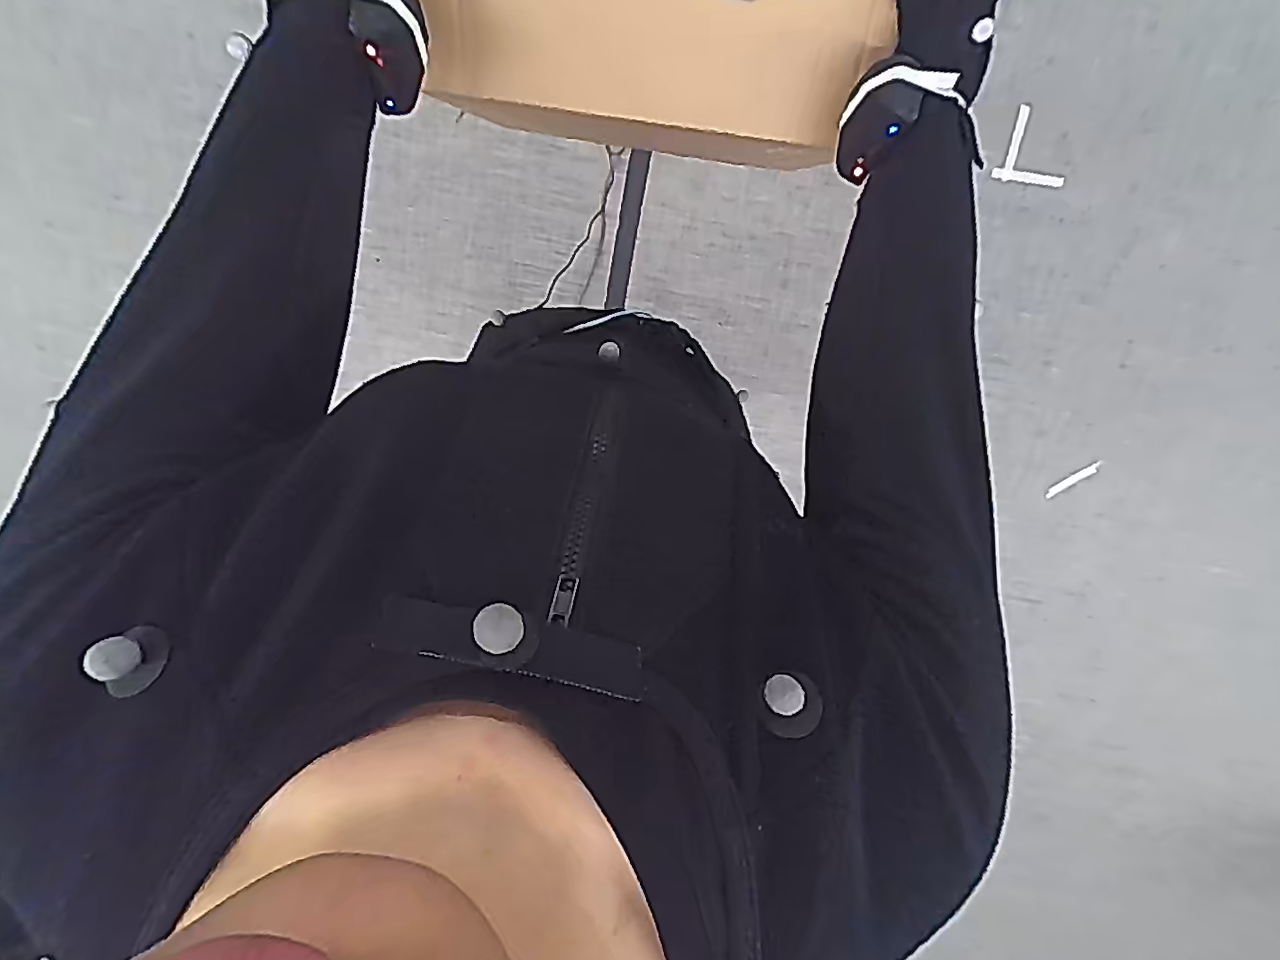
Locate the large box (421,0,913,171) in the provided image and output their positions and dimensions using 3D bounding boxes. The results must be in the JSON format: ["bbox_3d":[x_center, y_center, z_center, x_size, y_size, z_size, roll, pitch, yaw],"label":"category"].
[{"bbox_3d":[0.028,-0.511,0.537,0.408,0.320,0.320,6,118,-3],"label":"large box"}]
